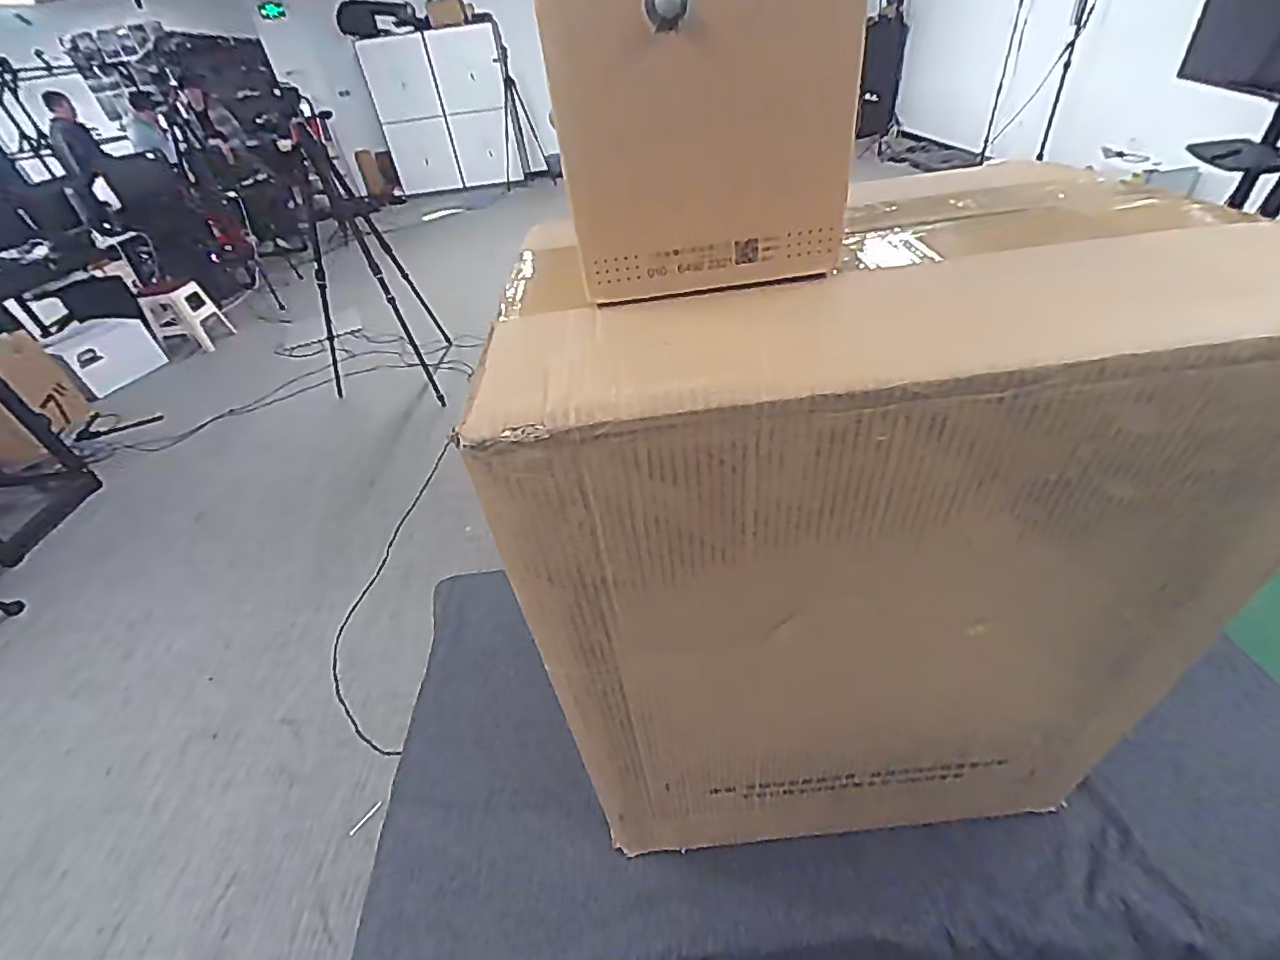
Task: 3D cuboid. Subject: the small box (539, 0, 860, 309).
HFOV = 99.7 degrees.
[{"bbox_3d":[0.036,-0.235,0.382,0.168,0.176,0.179,-7,36,3],"label":"small box"}]
